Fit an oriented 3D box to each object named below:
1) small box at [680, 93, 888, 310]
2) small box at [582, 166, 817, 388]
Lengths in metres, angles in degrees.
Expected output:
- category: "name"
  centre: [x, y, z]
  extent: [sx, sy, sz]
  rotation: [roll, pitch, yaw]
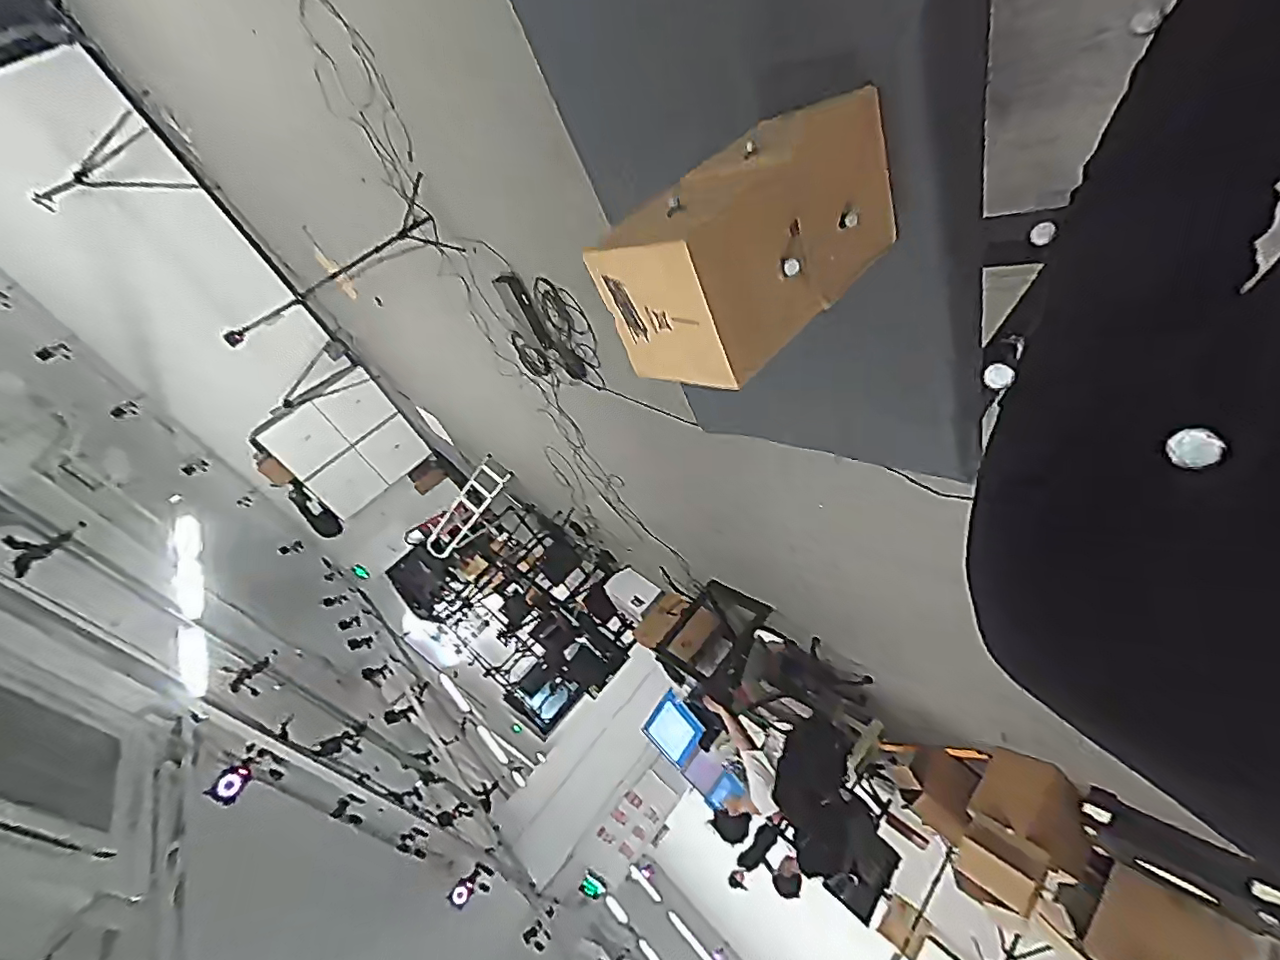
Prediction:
- category: "small box"
  centre: [0.186, -0.335, 0.676]
  extent: [0.168, 0.176, 0.179]
  rotation: [21, 149, 48]
- category: "small box"
  centre: [0.072, -0.230, 0.621]
  extent: [0.179, 0.176, 0.168]
  rotation: [21, 148, 48]
